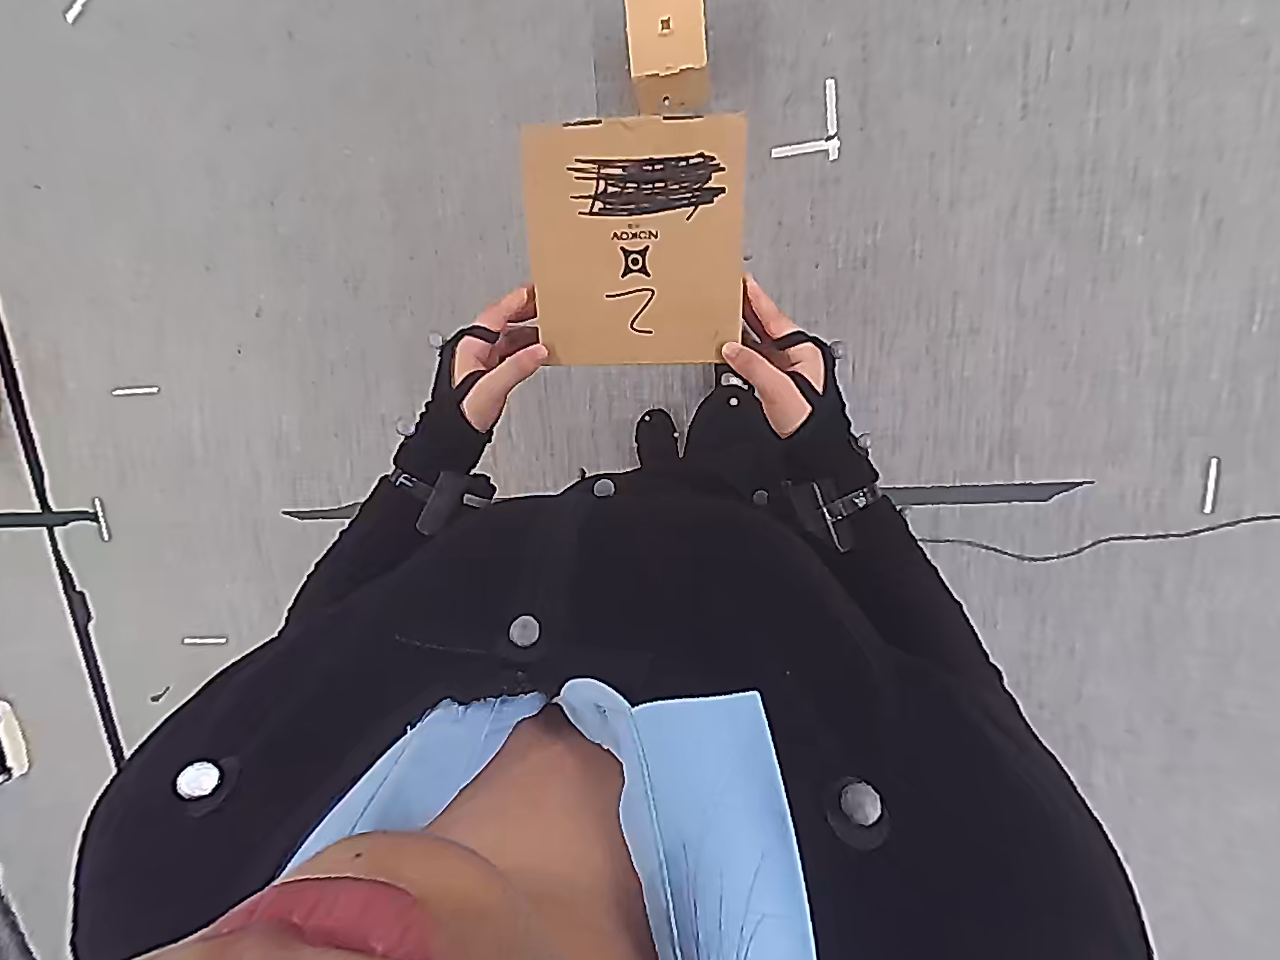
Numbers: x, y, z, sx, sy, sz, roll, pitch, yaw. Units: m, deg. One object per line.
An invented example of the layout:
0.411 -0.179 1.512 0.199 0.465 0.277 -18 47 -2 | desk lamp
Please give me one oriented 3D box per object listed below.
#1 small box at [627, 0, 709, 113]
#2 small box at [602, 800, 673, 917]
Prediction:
0.066 -0.970 1.217 0.168 0.176 0.179 -5 100 7 | small box
-0.001 0.964 1.385 0.168 0.176 0.179 -1 100 5 | small box
